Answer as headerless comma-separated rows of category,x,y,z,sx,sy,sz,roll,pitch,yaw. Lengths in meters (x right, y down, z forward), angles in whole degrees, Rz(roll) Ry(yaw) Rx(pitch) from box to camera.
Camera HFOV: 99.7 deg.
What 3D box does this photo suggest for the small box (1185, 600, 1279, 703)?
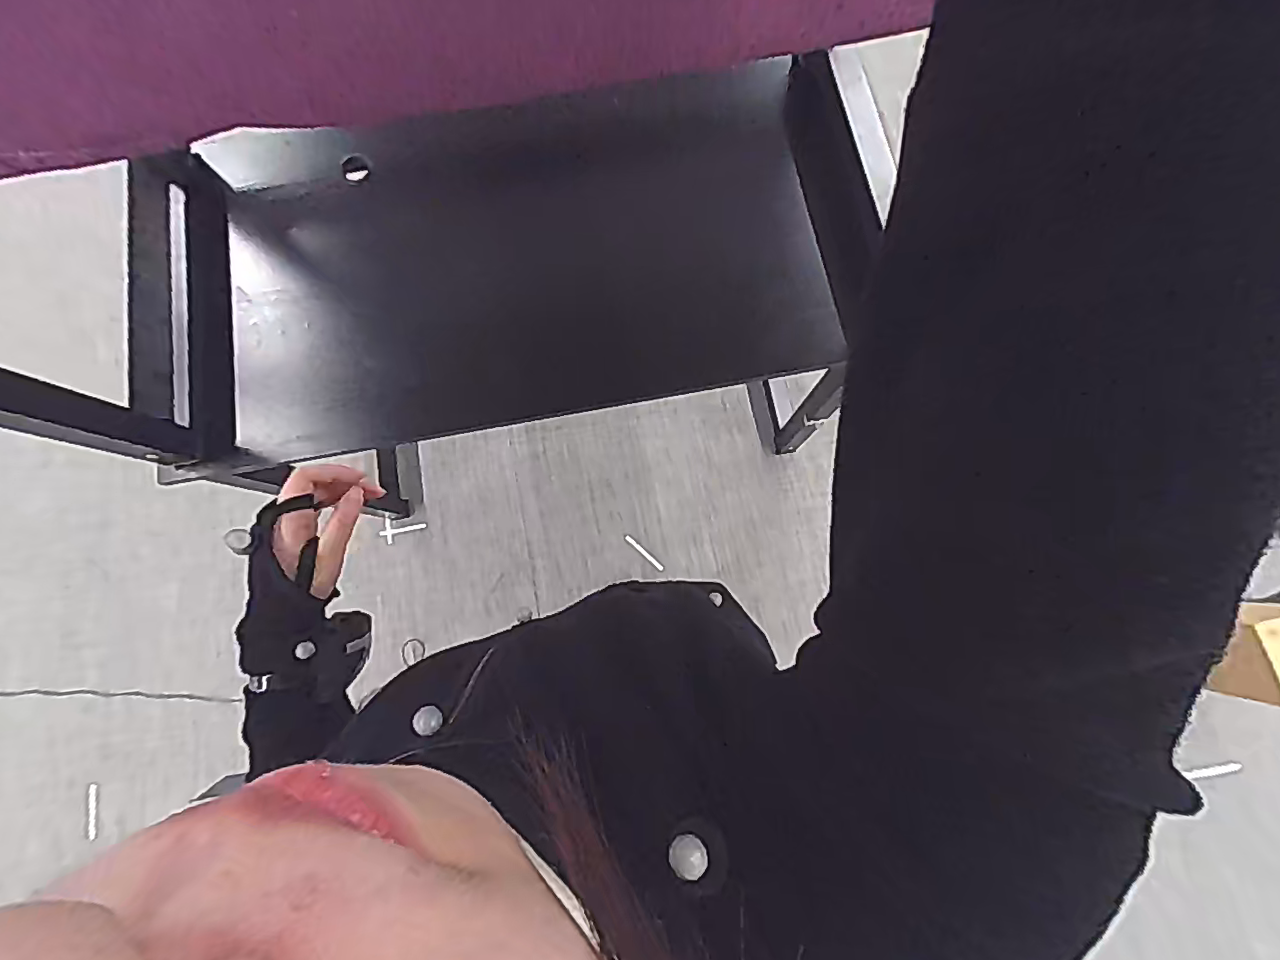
small box,1.383,0.371,1.191,0.168,0.176,0.179,-13,81,-1
